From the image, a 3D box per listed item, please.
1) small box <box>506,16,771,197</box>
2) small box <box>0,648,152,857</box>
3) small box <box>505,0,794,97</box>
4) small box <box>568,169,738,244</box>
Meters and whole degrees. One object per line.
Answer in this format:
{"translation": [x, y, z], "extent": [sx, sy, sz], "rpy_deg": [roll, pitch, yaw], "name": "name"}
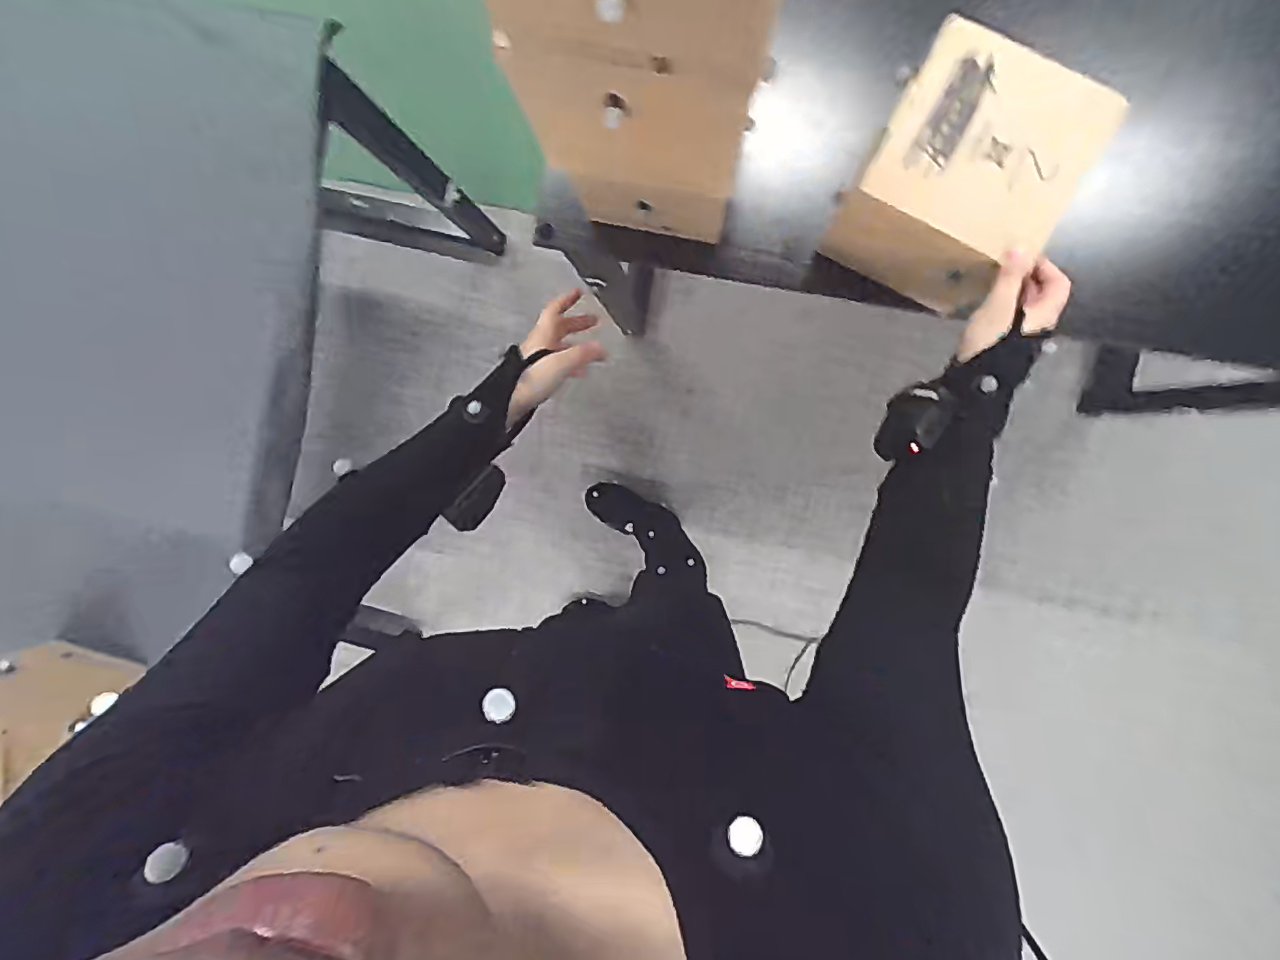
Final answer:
{"translation": [0.019, -0.347, 0.424], "extent": [0.179, 0.176, 0.168], "rpy_deg": [12, 96, 5], "name": "small box"}
{"translation": [-0.823, 0.354, 0.738], "extent": [0.168, 0.176, 0.179], "rpy_deg": [12, 96, 7], "name": "small box"}
{"translation": [0.011, -0.329, 0.260], "extent": [0.168, 0.176, 0.179], "rpy_deg": [14, 97, 5], "name": "small box"}
{"translation": [0.032, -0.378, 0.583], "extent": [0.168, 0.176, 0.179], "rpy_deg": [12, 96, 4], "name": "small box"}
